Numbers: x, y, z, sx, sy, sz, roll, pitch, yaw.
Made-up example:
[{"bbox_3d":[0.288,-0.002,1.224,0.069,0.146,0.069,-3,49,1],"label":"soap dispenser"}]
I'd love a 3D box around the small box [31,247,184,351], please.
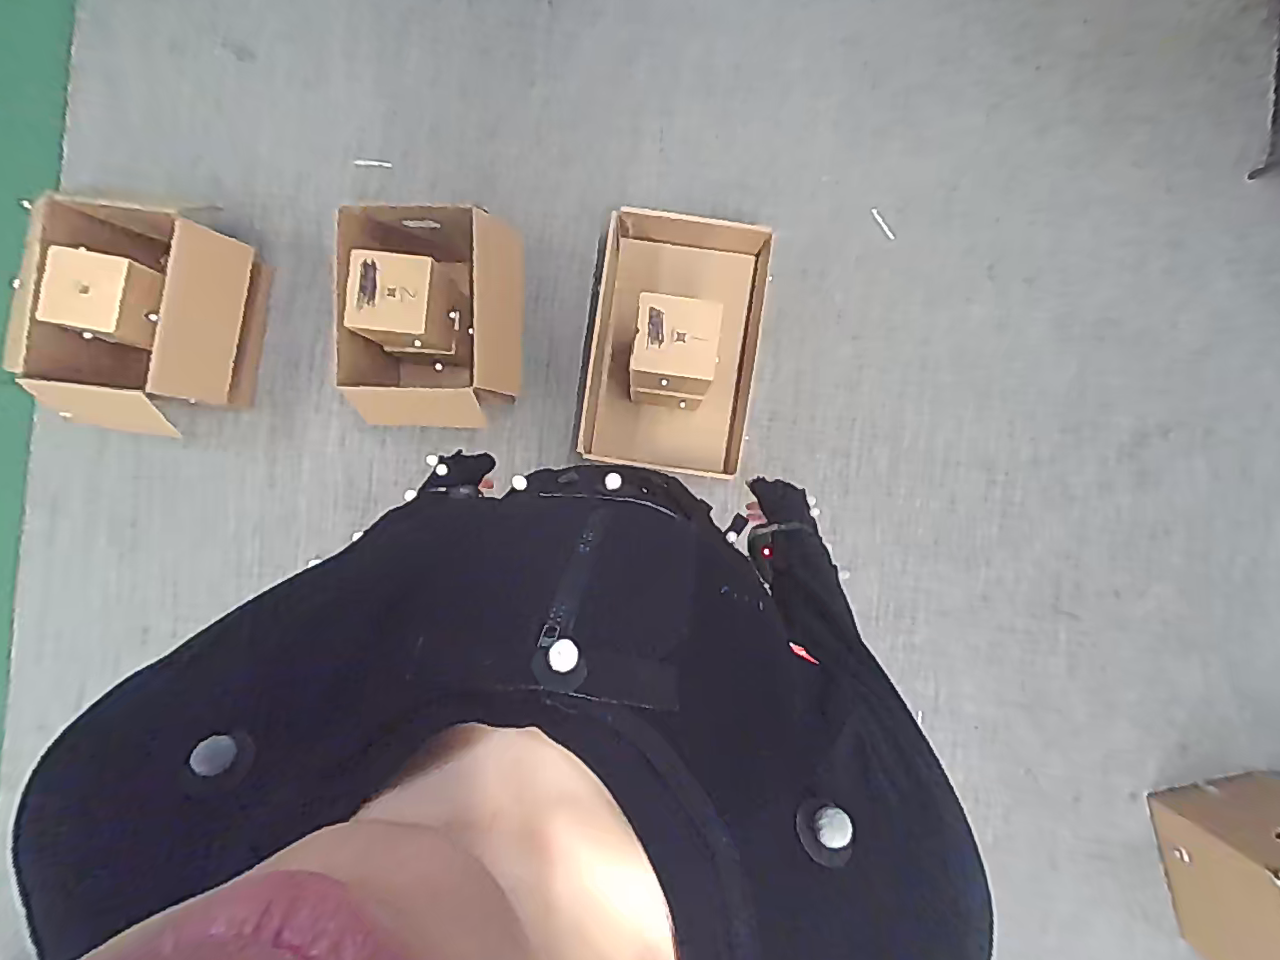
[{"bbox_3d":[-1.194,-0.400,1.227,0.179,0.176,0.168,9,89,0],"label":"small box"}]

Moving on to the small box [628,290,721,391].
[{"bbox_3d":[0.070,-0.298,1.190,0.179,0.176,0.168,7,88,-1],"label":"small box"}]
